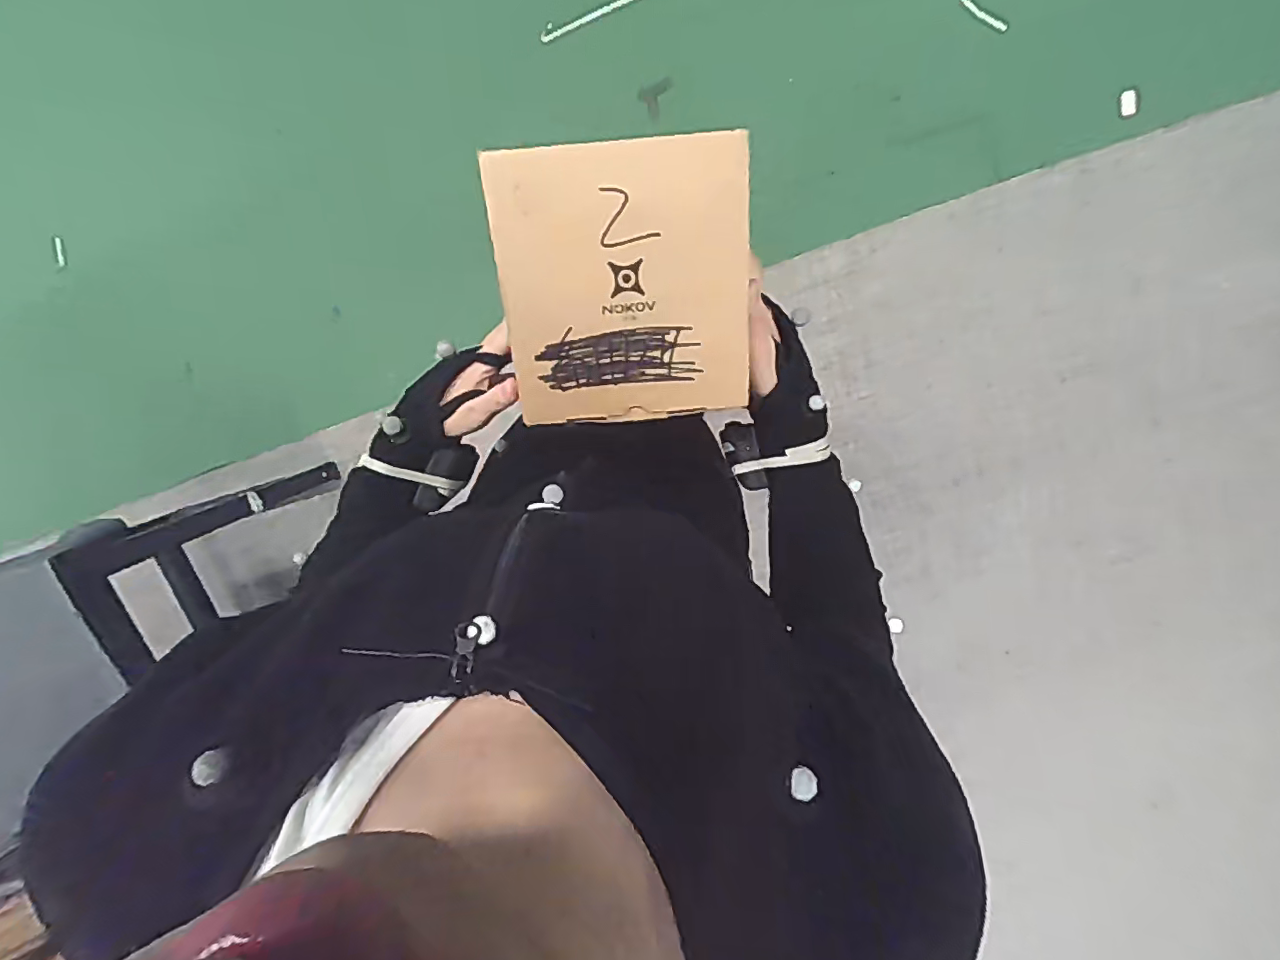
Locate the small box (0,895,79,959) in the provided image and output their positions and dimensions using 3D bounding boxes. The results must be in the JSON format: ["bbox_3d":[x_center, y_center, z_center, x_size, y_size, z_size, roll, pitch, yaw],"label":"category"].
[{"bbox_3d":[-1.033,0.773,0.815,0.179,0.176,0.168,-15,104,10],"label":"small box"}]
